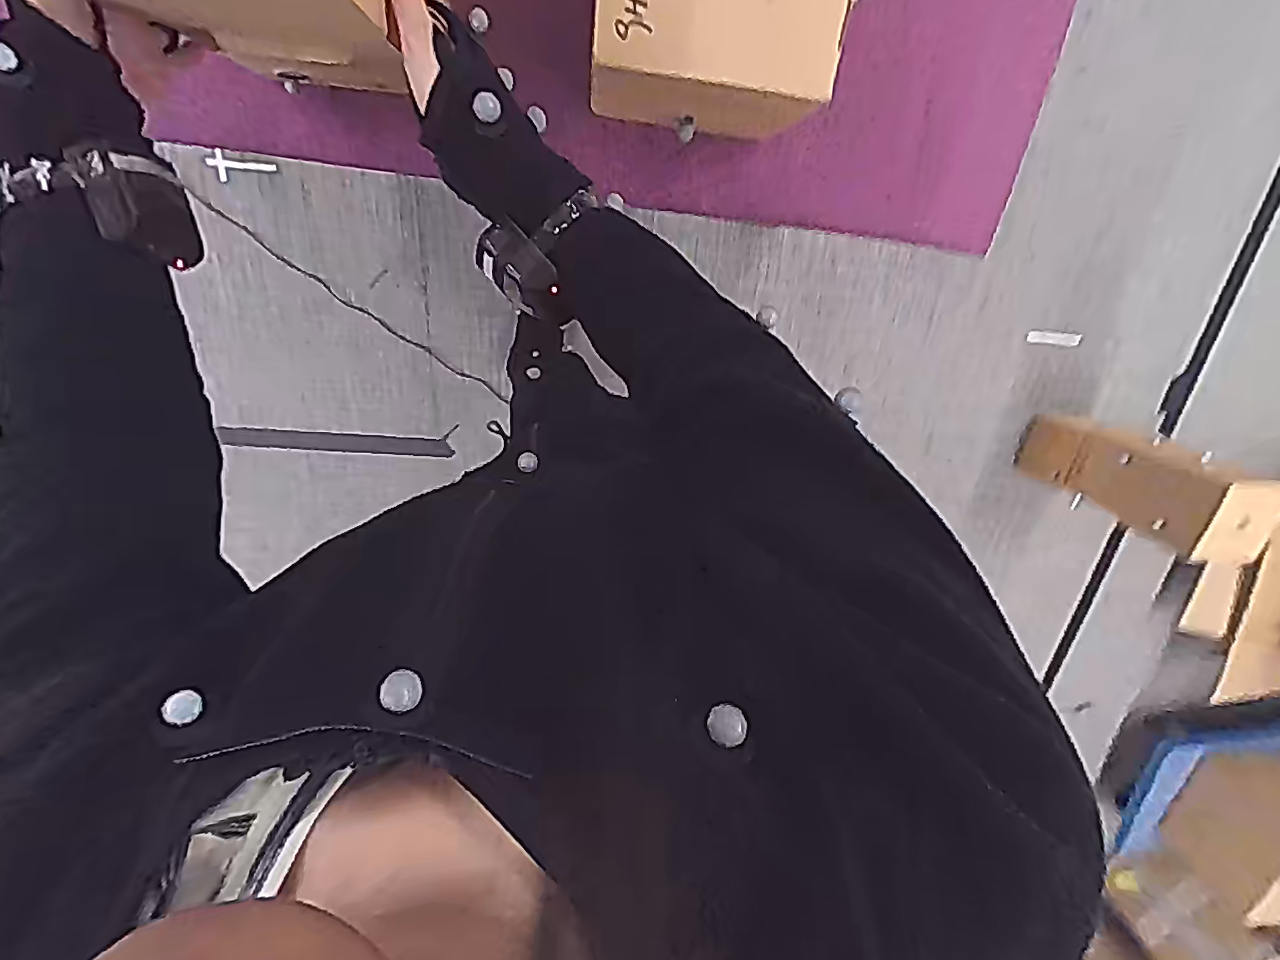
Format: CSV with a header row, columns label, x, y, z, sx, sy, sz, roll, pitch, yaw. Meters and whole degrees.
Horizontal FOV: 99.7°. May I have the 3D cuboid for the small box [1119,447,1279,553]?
label,x,y,z,sx,sy,sz,roll,pitch,yaw
small box,1.205,0.041,1.171,0.168,0.176,0.179,0,114,-8

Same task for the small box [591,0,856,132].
label,x,y,z,sx,sy,sz,roll,pitch,yaw
small box,0.057,-0.386,0.420,0.179,0.176,0.168,4,114,-8

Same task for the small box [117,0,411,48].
label,x,y,z,sx,sy,sz,roll,pitch,yaw
small box,-0.219,-0.325,0.238,0.179,0.176,0.168,3,114,-7

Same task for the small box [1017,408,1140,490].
label,x,y,z,sx,sy,sz,roll,pitch,yaw
small box,1.177,-0.090,1.470,0.168,0.176,0.179,3,114,-7

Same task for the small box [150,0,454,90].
label,x,y,z,sx,sy,sz,roll,pitch,yaw
small box,-0.237,-0.403,0.383,0.168,0.176,0.179,1,113,-6
